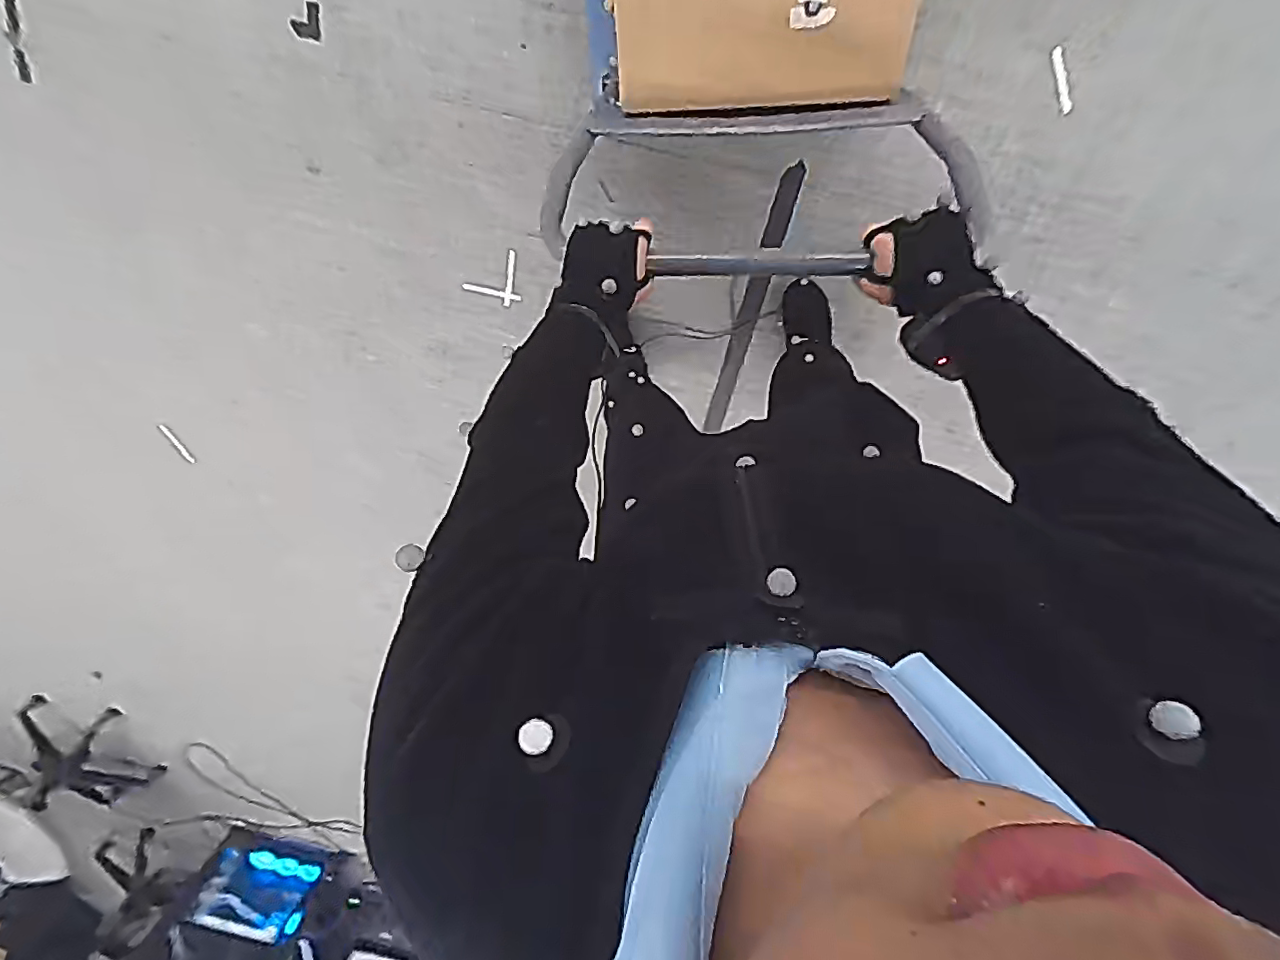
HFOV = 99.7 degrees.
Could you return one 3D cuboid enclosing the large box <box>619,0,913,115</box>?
[{"bbox_3d":[0.178,-0.781,0.822,0.408,0.320,0.320,1,134,7],"label":"large box"}]
